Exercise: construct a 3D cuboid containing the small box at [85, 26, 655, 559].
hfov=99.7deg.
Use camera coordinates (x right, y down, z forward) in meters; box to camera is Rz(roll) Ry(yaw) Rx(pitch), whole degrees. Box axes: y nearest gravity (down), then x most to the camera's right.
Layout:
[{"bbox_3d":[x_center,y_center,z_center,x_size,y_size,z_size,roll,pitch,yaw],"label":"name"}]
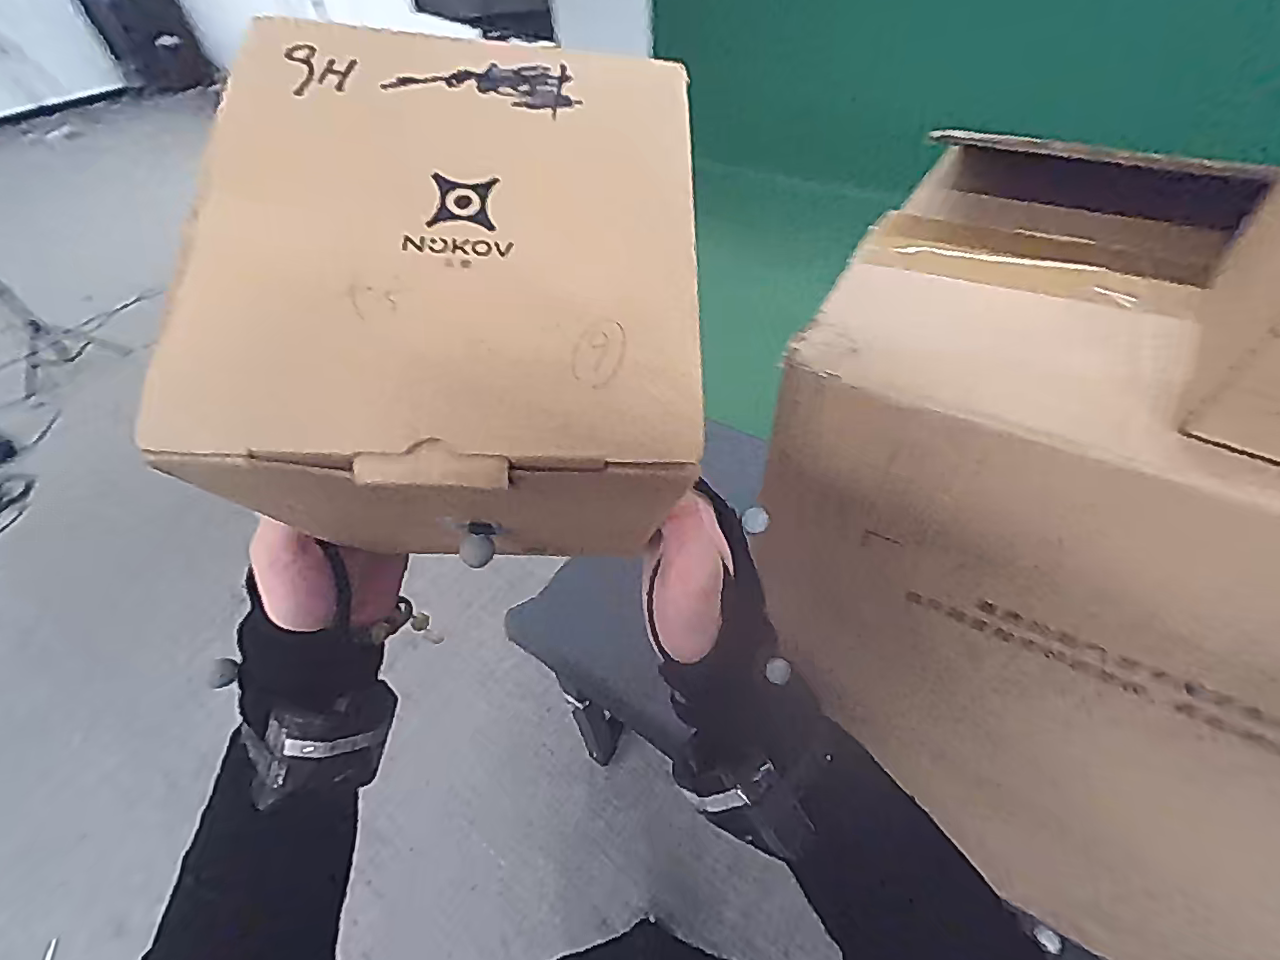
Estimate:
[{"bbox_3d":[-0.083,-0.057,0.257,0.168,0.176,0.179,1,74,-6],"label":"small box"}]
